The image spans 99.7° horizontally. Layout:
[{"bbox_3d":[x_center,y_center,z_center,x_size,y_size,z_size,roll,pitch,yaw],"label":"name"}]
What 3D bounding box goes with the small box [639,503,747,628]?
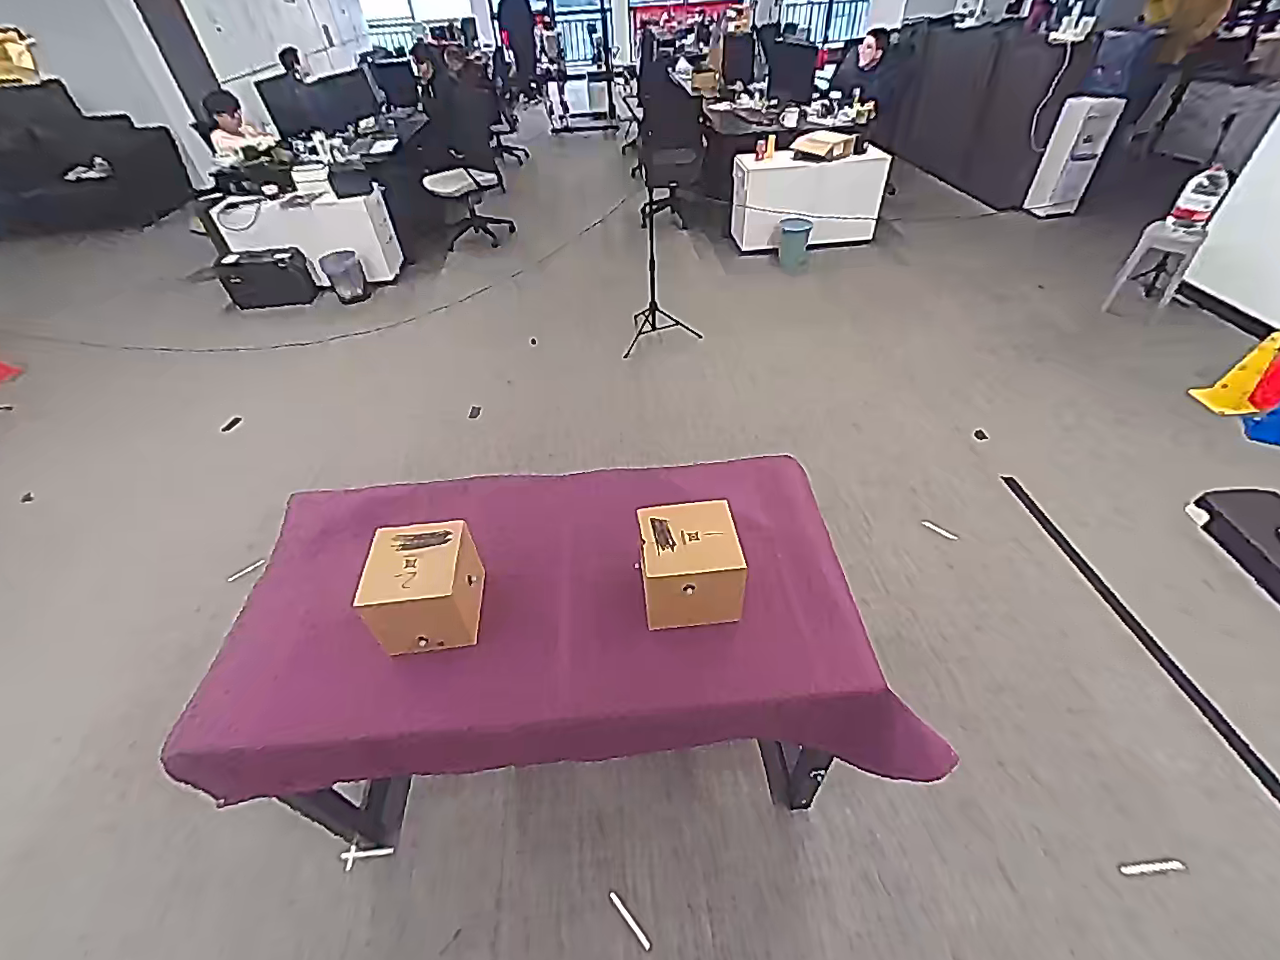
[{"bbox_3d":[0.095,0.165,1.025,0.179,0.176,0.168,-5,43,-2],"label":"small box"}]
